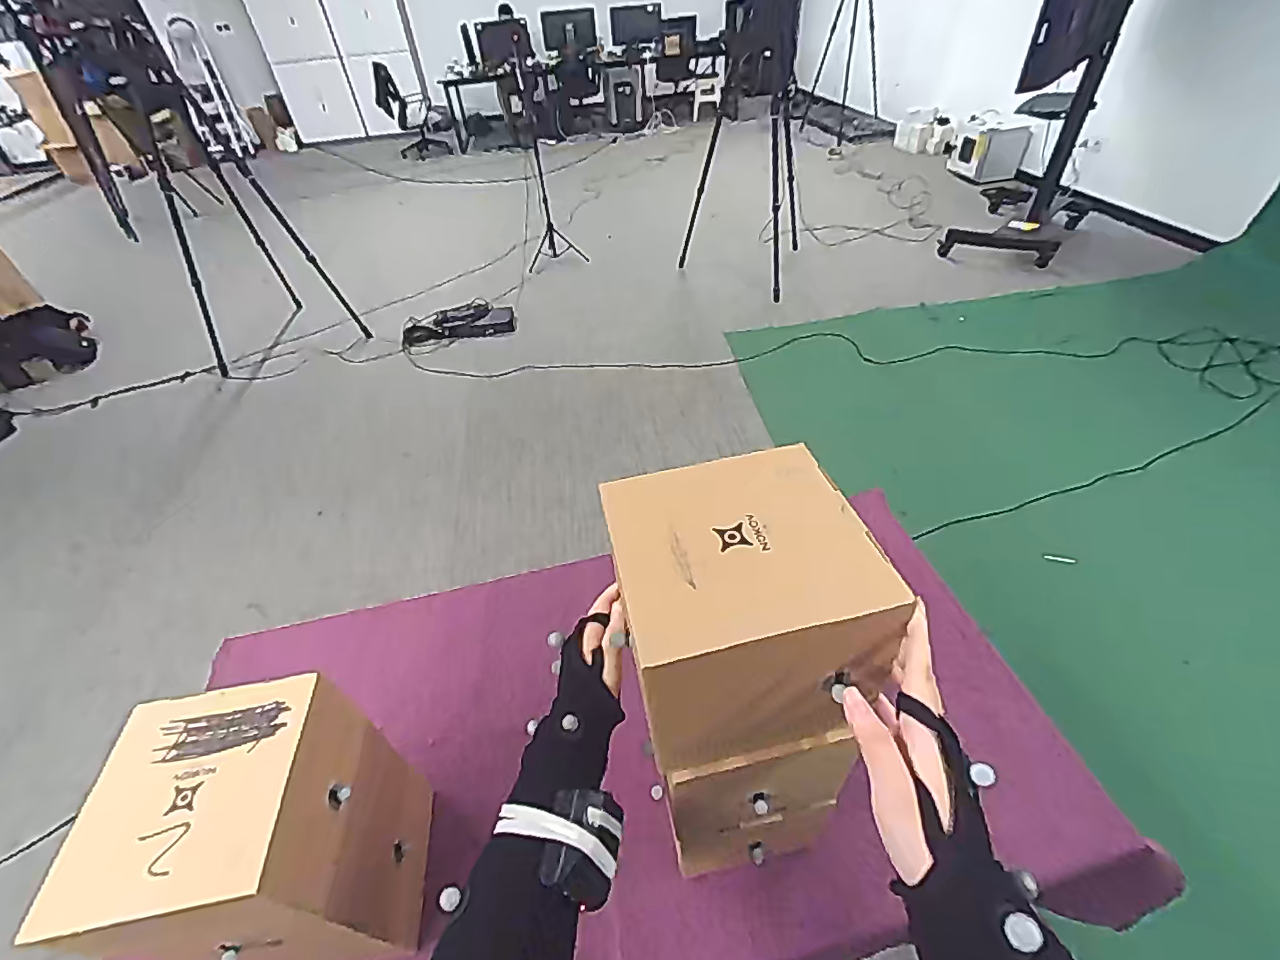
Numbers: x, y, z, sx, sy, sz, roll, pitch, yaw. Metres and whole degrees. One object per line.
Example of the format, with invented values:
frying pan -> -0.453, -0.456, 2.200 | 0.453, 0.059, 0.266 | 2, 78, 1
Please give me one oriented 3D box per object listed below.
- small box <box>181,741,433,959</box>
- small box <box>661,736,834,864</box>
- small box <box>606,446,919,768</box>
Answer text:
small box -> -0.346, 0.429, 0.610 | 0.168, 0.176, 0.179 | -10, 44, -4
small box -> 0.110, 0.339, 0.655 | 0.168, 0.176, 0.179 | -11, 44, -6
small box -> 0.078, 0.100, 0.431 | 0.179, 0.176, 0.168 | -12, 42, -5
